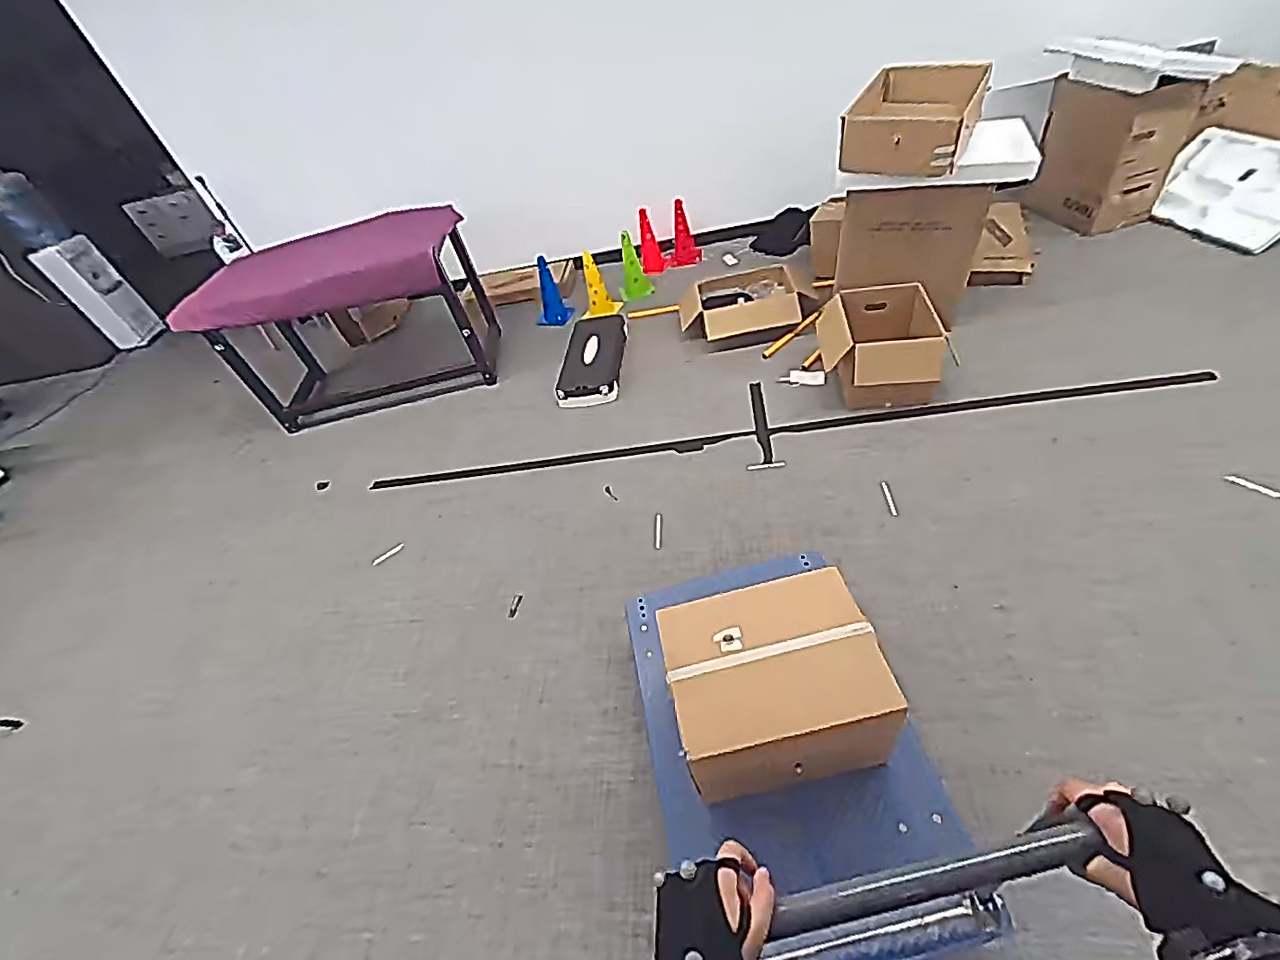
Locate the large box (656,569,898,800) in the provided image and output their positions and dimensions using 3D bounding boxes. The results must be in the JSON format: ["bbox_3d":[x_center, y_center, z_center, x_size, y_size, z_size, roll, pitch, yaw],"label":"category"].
[{"bbox_3d":[0.283,0.452,1.184,0.408,0.320,0.320,-16,44,2],"label":"large box"}]
